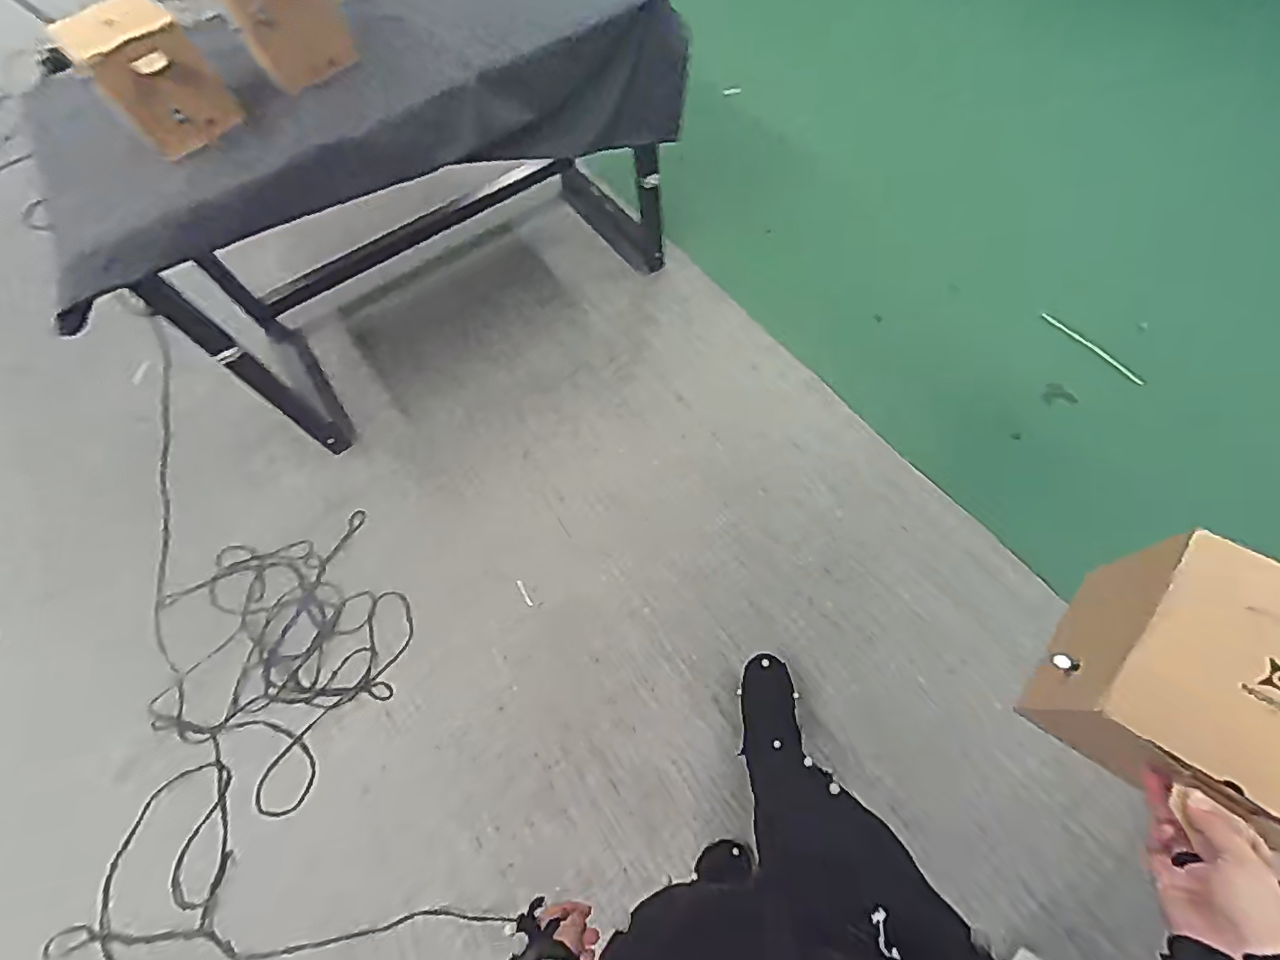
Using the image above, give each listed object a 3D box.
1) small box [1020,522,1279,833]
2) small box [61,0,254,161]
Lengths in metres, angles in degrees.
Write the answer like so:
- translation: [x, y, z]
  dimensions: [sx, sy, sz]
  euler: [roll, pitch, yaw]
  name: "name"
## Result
- translation: [0.466, 0.169, 0.458]
  dimensions: [0.168, 0.176, 0.179]
  euler: [31, 77, 22]
  name: "small box"
- translation: [-0.858, -0.718, 0.976]
  dimensions: [0.179, 0.176, 0.168]
  euler: [40, 73, 21]
  name: "small box"
